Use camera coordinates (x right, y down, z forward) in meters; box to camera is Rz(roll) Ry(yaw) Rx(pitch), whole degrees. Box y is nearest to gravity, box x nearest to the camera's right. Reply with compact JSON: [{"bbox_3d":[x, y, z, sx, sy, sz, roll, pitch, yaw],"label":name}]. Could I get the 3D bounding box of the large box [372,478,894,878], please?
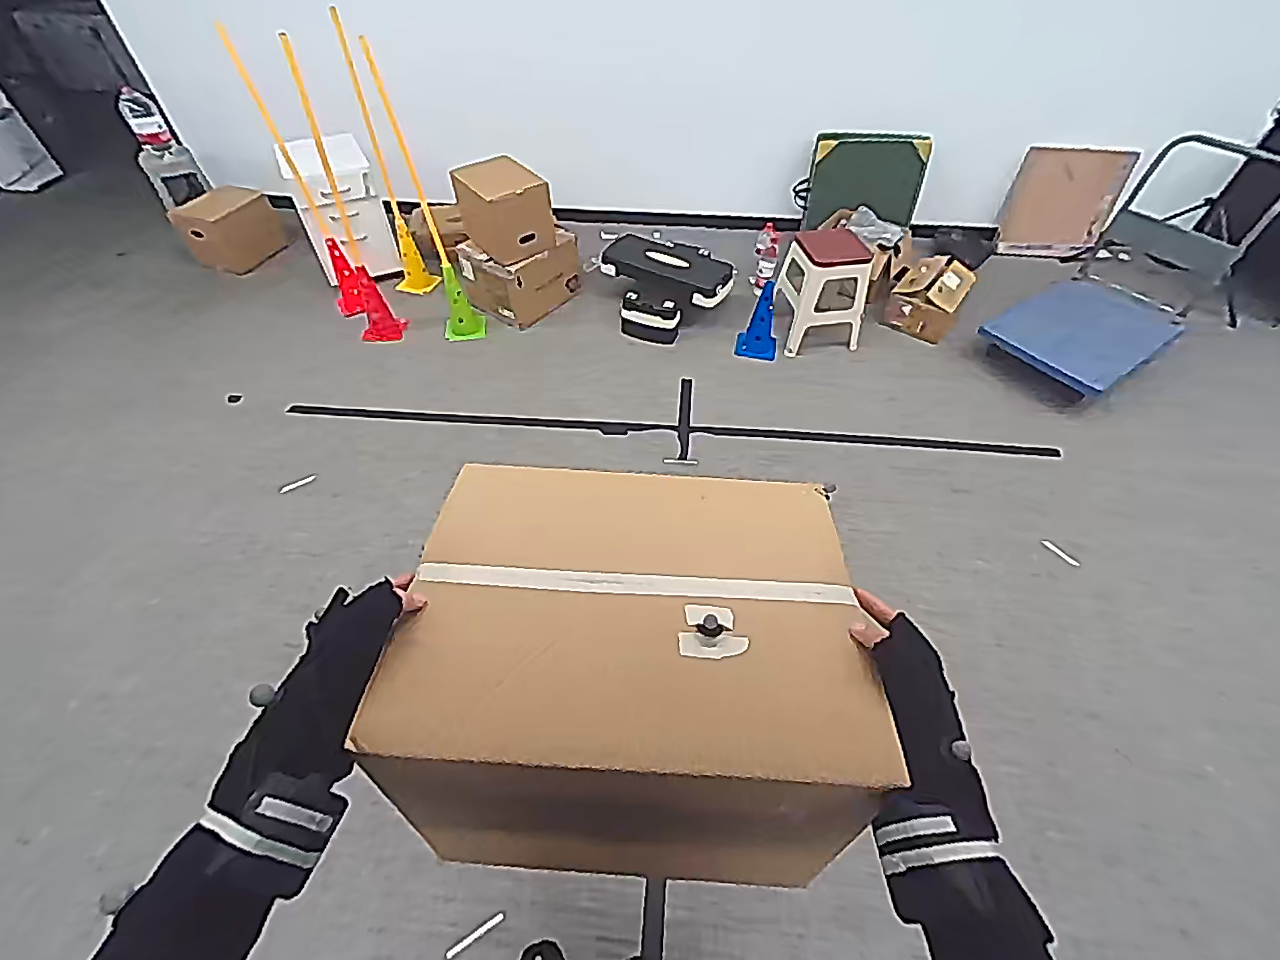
[{"bbox_3d":[-0.007,0.219,0.612,0.408,0.320,0.320,4,43,1],"label":"large box"}]
